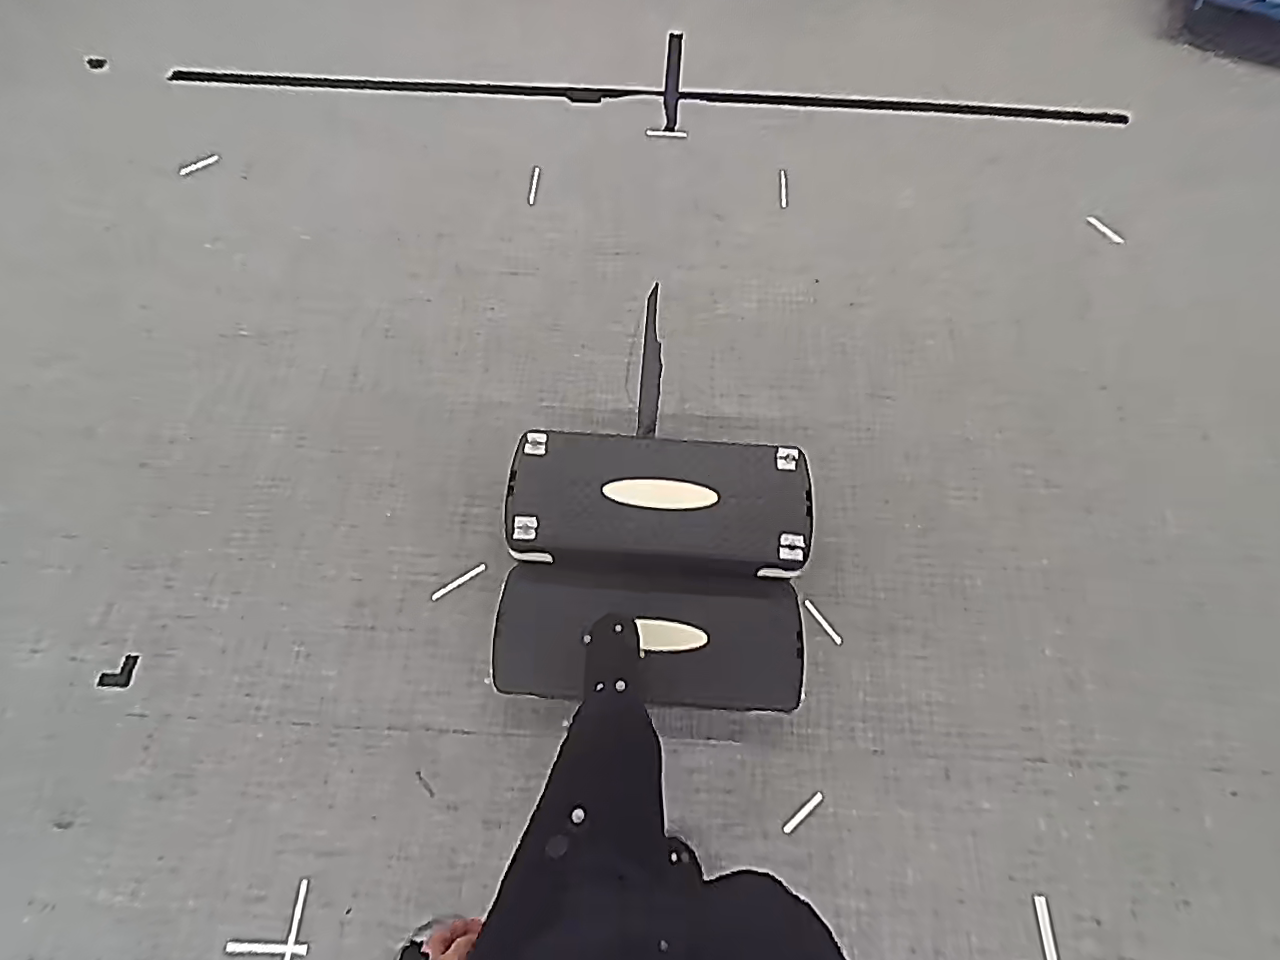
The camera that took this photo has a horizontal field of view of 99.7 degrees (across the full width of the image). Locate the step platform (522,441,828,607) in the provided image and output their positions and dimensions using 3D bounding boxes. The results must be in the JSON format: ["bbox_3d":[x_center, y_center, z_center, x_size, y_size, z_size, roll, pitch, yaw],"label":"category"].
[{"bbox_3d":[0.078,0.102,1.256,0.684,0.204,0.286,8,68,2],"label":"step platform"}]
